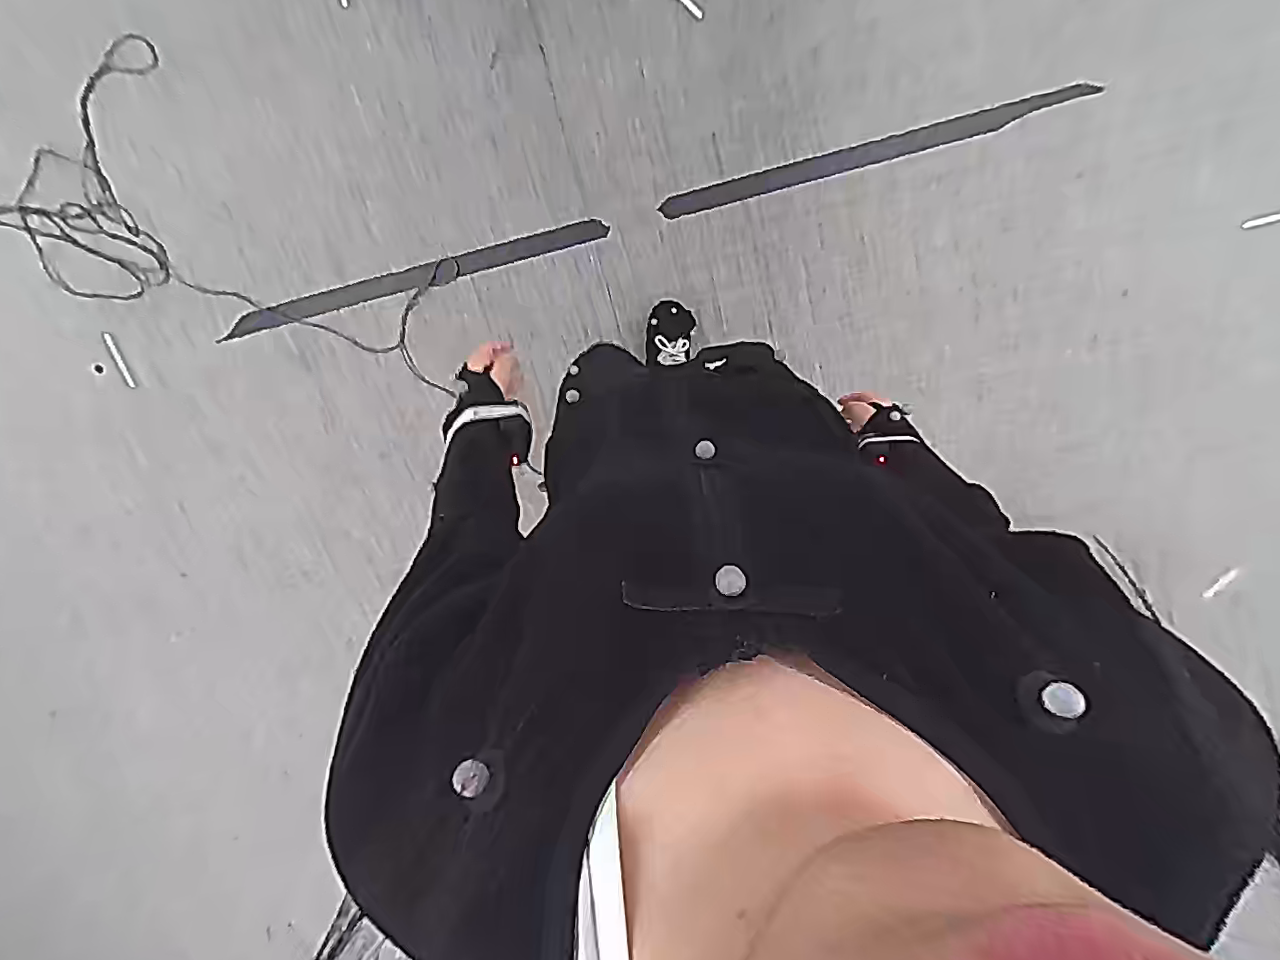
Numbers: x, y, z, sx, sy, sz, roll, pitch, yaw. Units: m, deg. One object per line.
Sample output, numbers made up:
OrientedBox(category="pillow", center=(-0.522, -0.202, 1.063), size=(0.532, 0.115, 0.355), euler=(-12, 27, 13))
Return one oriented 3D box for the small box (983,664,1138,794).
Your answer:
OrientedBox(category="small box", center=(0.929, 0.549, 1.212), size=(0.179, 0.176, 0.168), euler=(33, 104, -11))
